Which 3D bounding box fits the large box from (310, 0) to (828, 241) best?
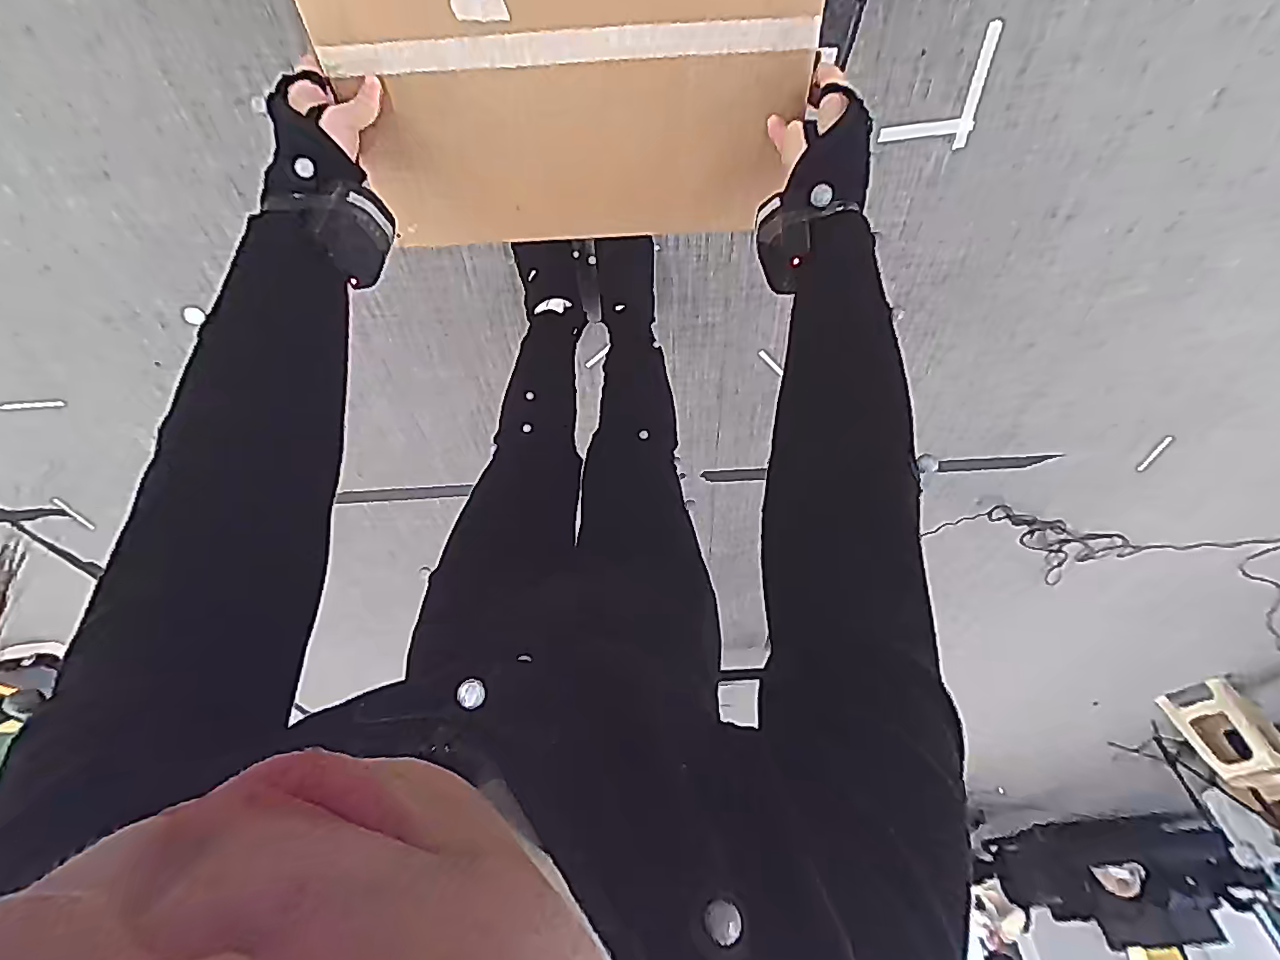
[{"bbox_3d":[-0.053,-0.466,0.525,0.408,0.320,0.320,-3,138,1],"label":"large box"}]
